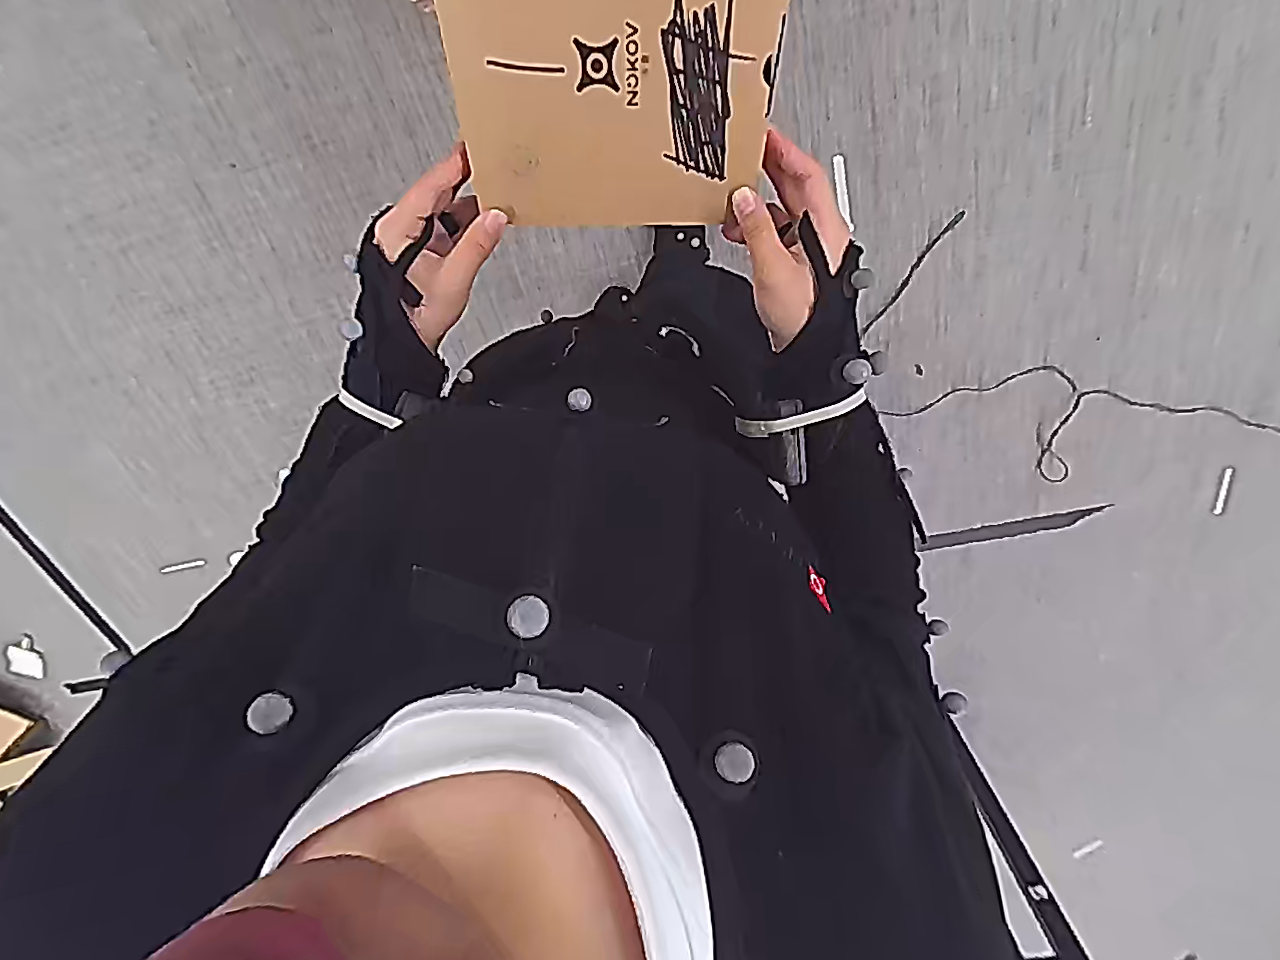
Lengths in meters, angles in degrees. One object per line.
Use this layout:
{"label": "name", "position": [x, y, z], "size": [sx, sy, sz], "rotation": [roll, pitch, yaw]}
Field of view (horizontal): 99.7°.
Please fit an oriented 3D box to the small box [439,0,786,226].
{"label": "small box", "position": [-0.015, -0.281, 0.342], "size": [0.179, 0.176, 0.168], "rotation": [0, 139, 0]}
